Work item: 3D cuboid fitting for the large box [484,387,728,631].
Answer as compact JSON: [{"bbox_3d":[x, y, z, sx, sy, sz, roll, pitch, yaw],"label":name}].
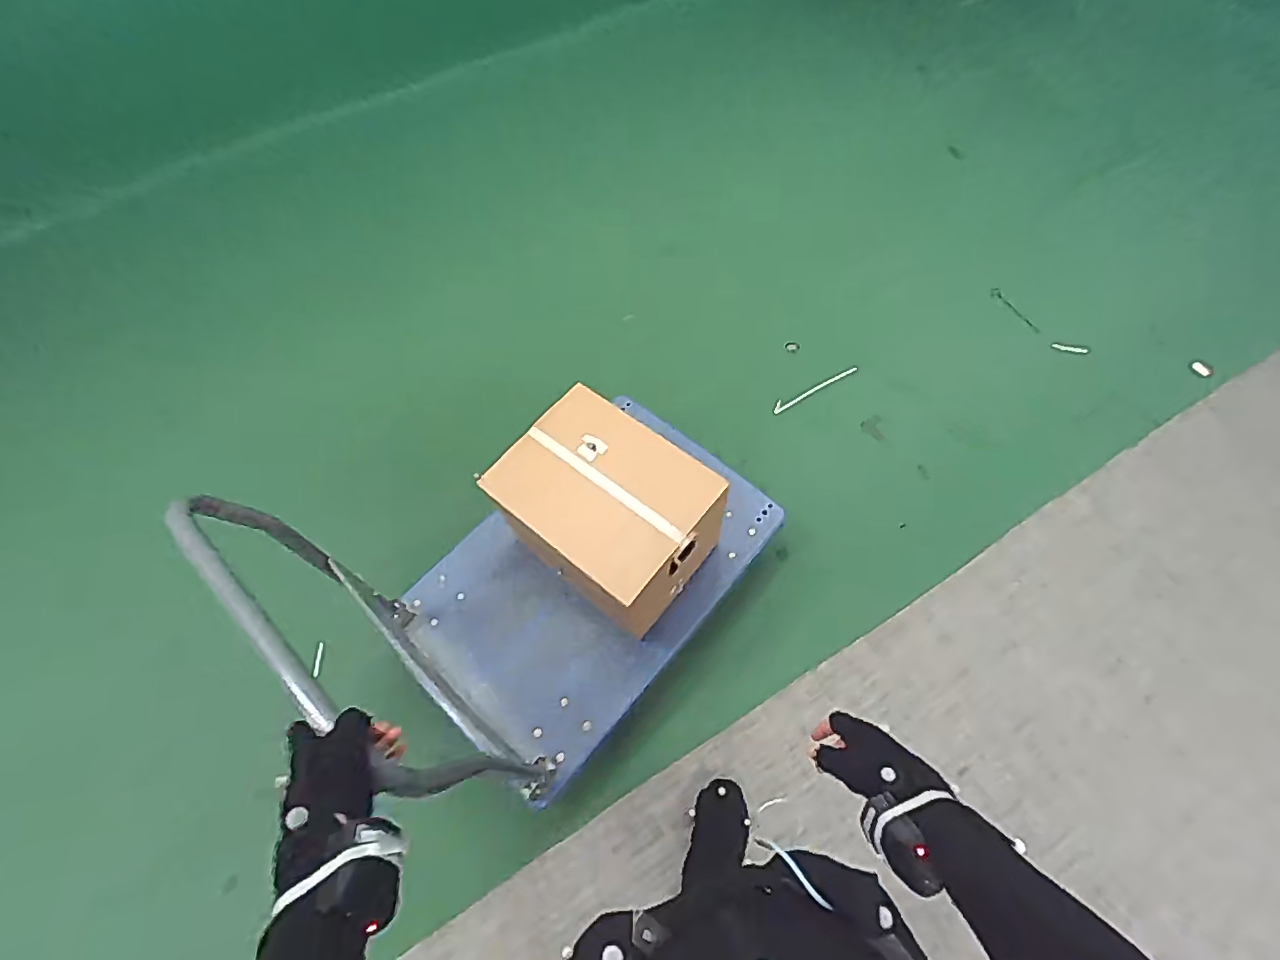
[{"bbox_3d":[-0.058,0.072,1.208,0.408,0.320,0.320,34,70,20],"label":"large box"}]
